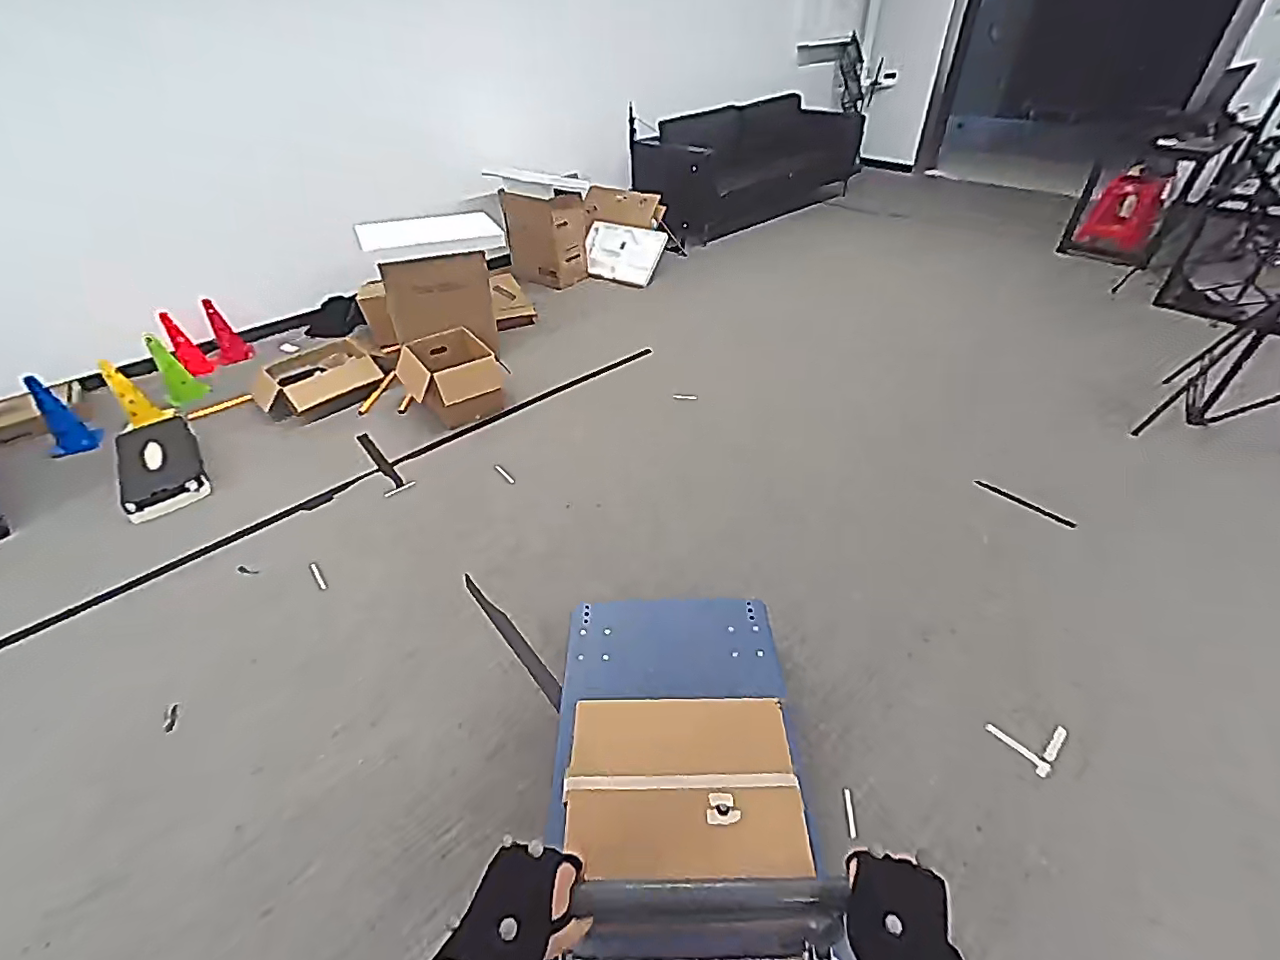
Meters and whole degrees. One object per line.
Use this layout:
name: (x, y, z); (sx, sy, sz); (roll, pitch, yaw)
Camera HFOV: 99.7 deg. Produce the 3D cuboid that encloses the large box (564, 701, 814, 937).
large box: (0.075, 0.656, 1.053); (0.408, 0.320, 0.320); (-1, 41, 0)
